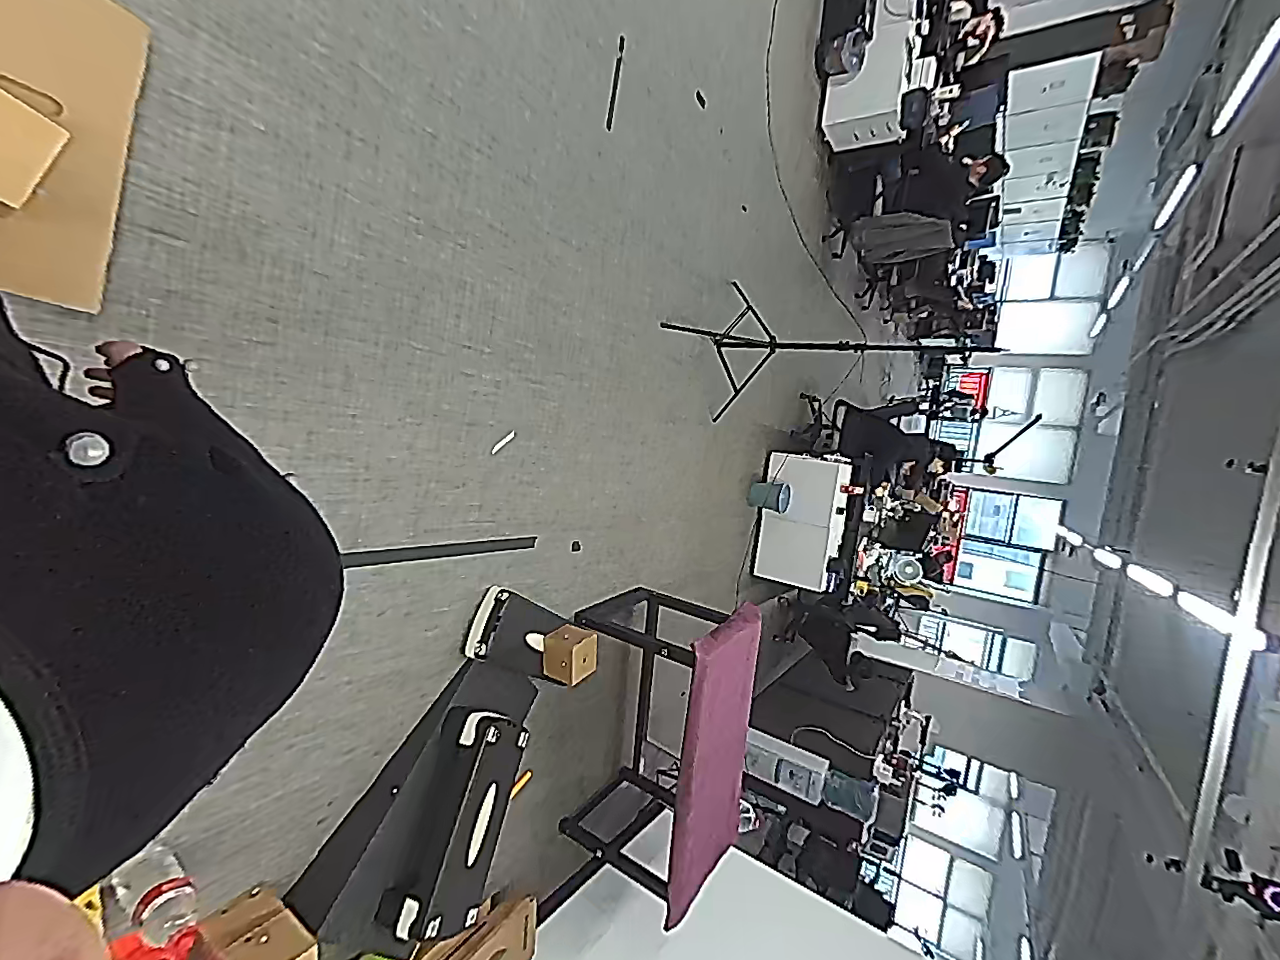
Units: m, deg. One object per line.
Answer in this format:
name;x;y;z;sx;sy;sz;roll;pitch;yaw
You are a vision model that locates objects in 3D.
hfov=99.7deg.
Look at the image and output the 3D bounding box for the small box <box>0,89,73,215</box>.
small box;-1.138;-0.580;0.922;0.179;0.176;0.168;34;72;-51
